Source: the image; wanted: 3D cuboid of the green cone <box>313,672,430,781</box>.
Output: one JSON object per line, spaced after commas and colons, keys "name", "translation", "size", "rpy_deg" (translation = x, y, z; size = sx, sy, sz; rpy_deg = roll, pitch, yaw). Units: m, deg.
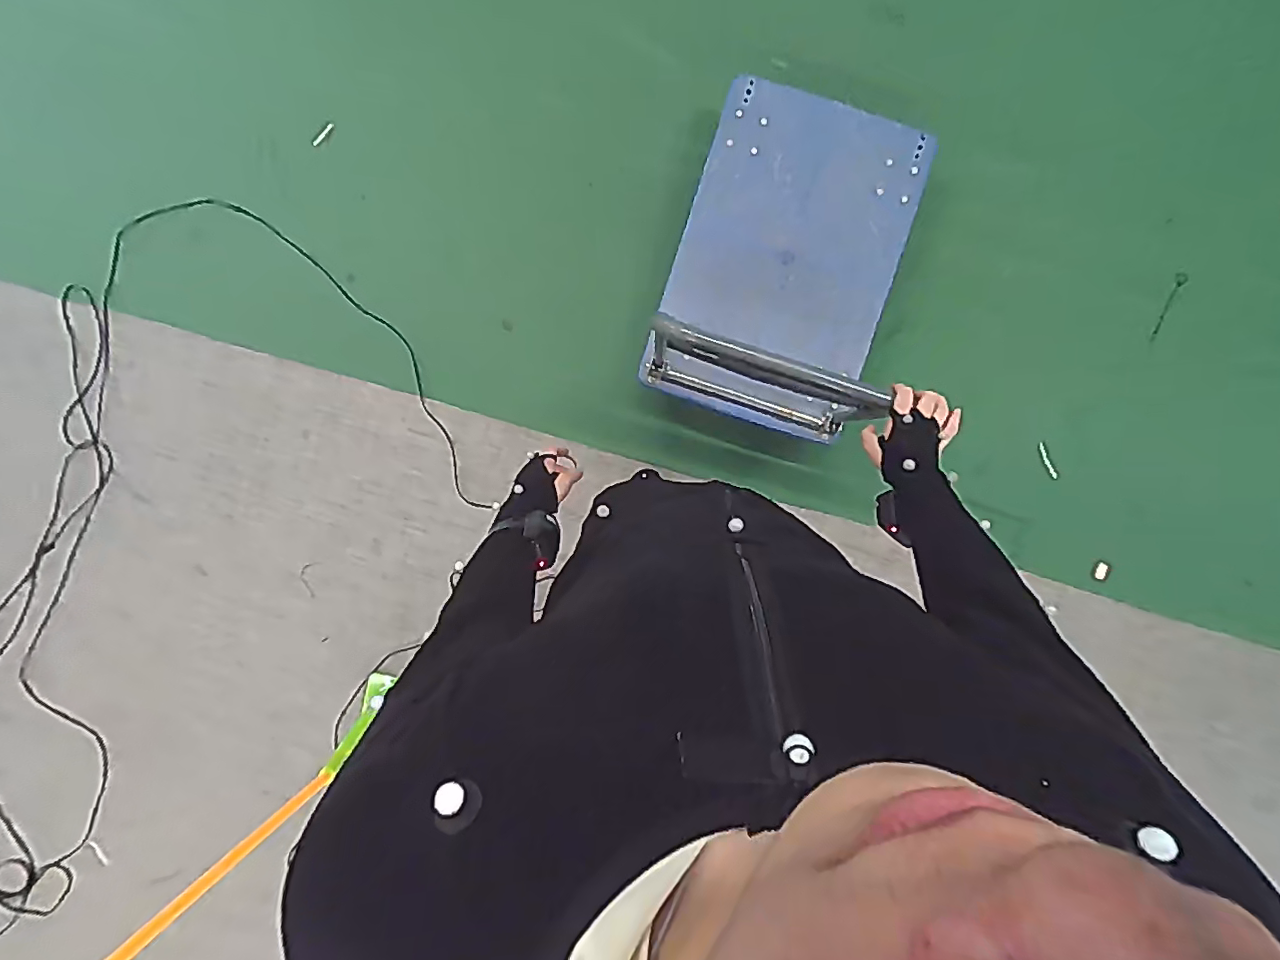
{"name": "green cone", "translation": [-0.765, 0.709, 1.495], "size": [0.202, 0.368, 0.200], "rpy_deg": [13, 92, 3]}
